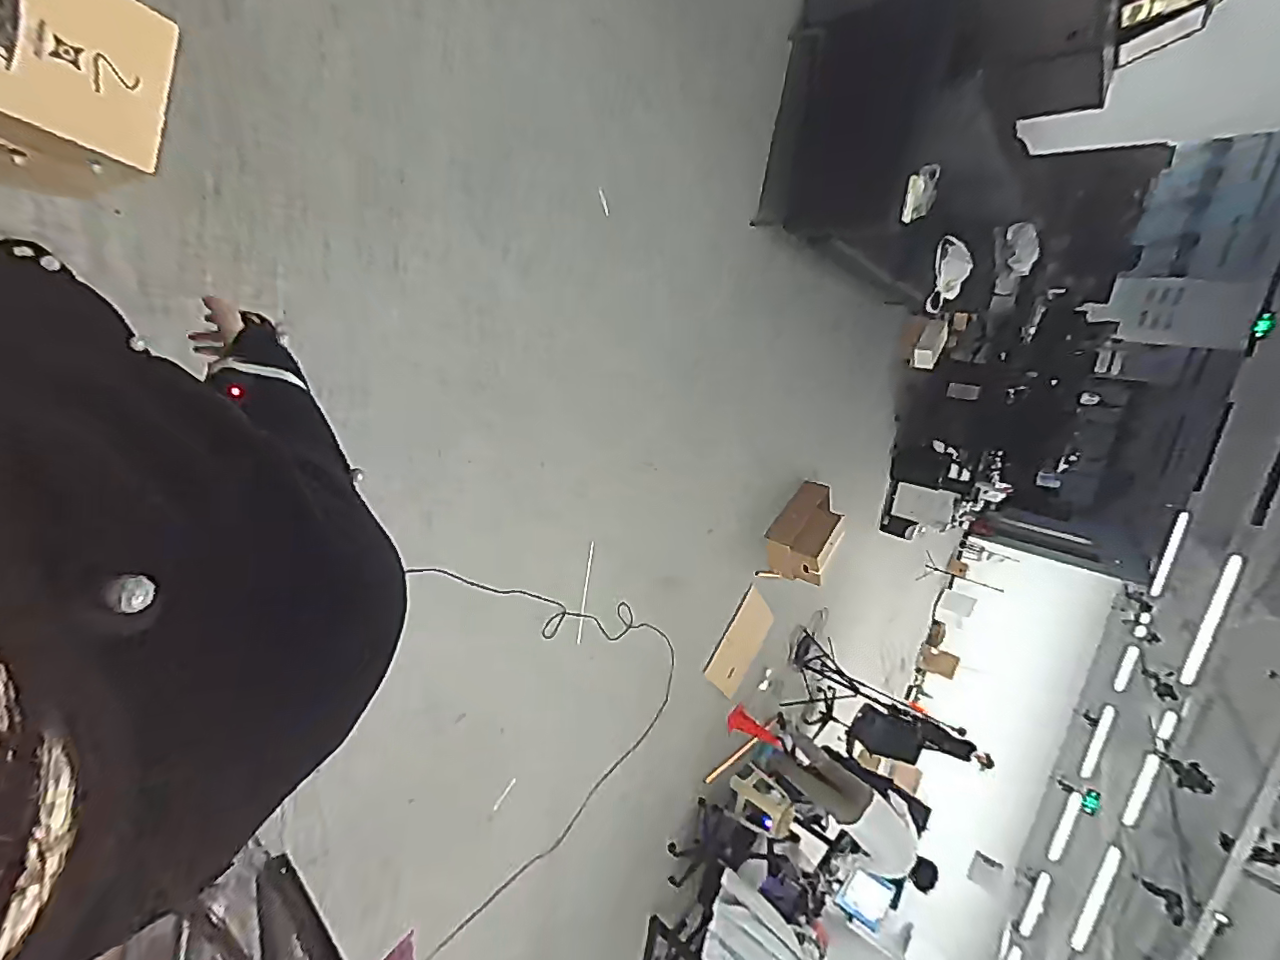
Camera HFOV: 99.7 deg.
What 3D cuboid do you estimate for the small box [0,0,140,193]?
[{"bbox_3d":[-0.770,-0.494,0.690,0.168,0.176,0.179,1,102,-51],"label":"small box"}]
